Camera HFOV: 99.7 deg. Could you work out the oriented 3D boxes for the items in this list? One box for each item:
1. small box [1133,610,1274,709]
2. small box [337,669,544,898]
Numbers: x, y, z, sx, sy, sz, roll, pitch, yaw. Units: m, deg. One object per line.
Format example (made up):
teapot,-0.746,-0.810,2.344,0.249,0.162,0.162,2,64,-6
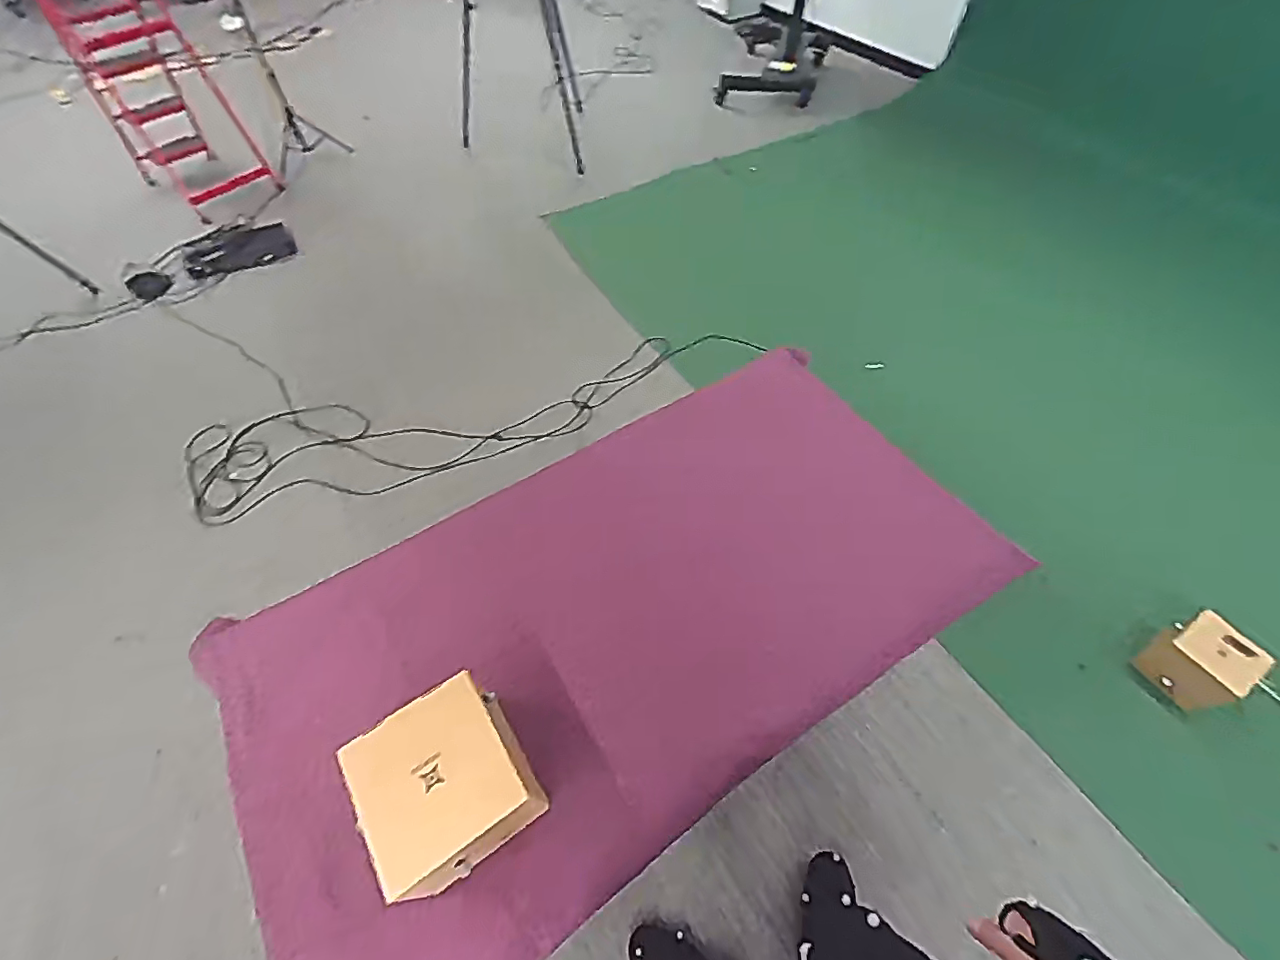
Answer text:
small box,1.499,0.485,1.454,0.179,0.176,0.168,-29,59,-16
small box,-0.239,0.377,0.683,0.168,0.176,0.179,-30,60,-18
